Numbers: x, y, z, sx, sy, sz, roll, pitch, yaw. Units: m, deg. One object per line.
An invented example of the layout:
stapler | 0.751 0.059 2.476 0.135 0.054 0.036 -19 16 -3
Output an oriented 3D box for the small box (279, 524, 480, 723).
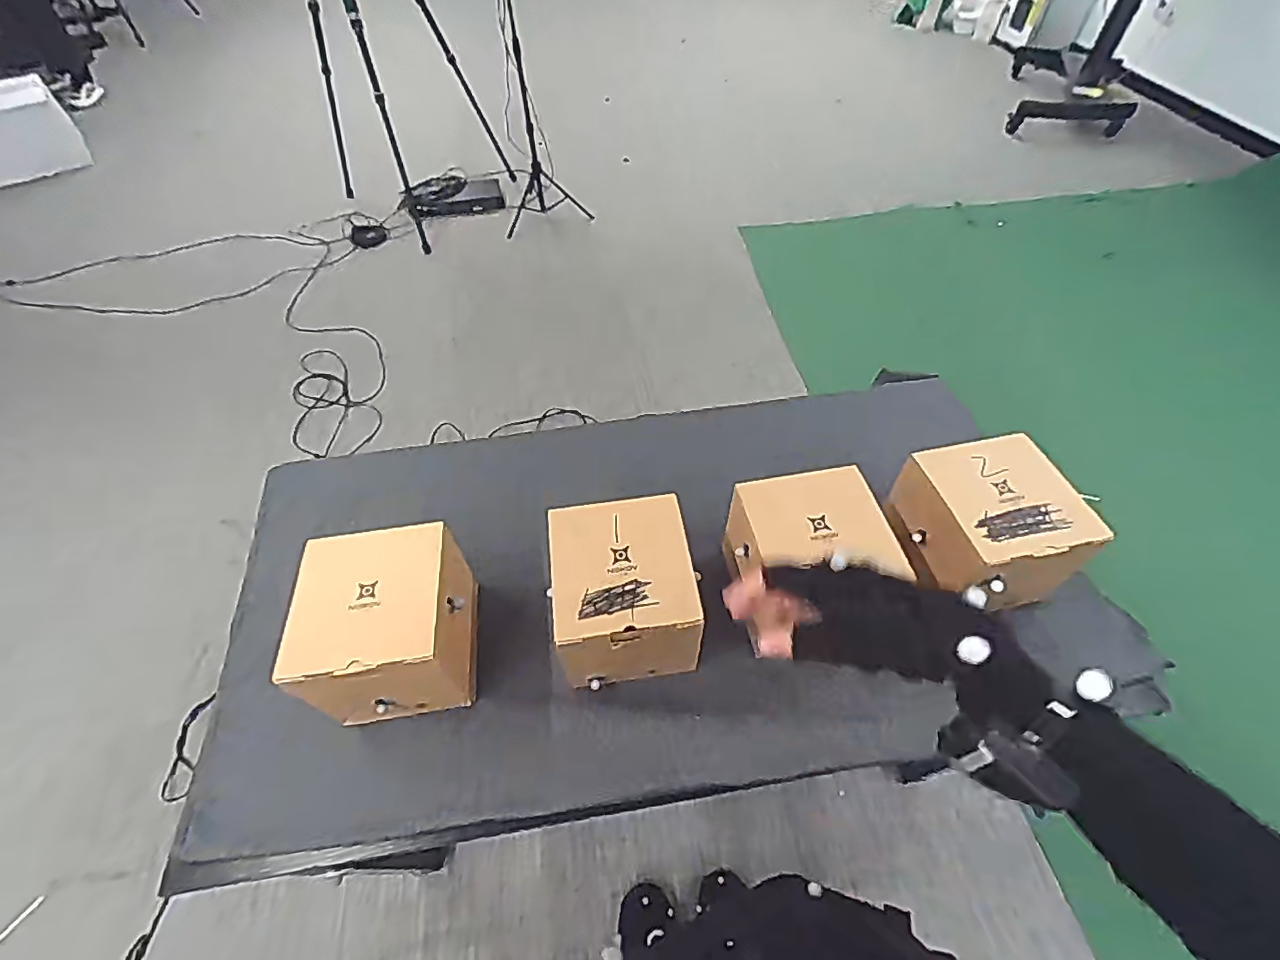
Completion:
small box | -0.303 0.180 0.675 0.168 0.176 0.179 -7 52 -5

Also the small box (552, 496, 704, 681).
small box | -0.017 0.146 0.694 0.168 0.176 0.179 -7 53 -4

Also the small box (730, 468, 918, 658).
small box | 0.222 0.111 0.713 0.168 0.176 0.179 -9 54 -3
